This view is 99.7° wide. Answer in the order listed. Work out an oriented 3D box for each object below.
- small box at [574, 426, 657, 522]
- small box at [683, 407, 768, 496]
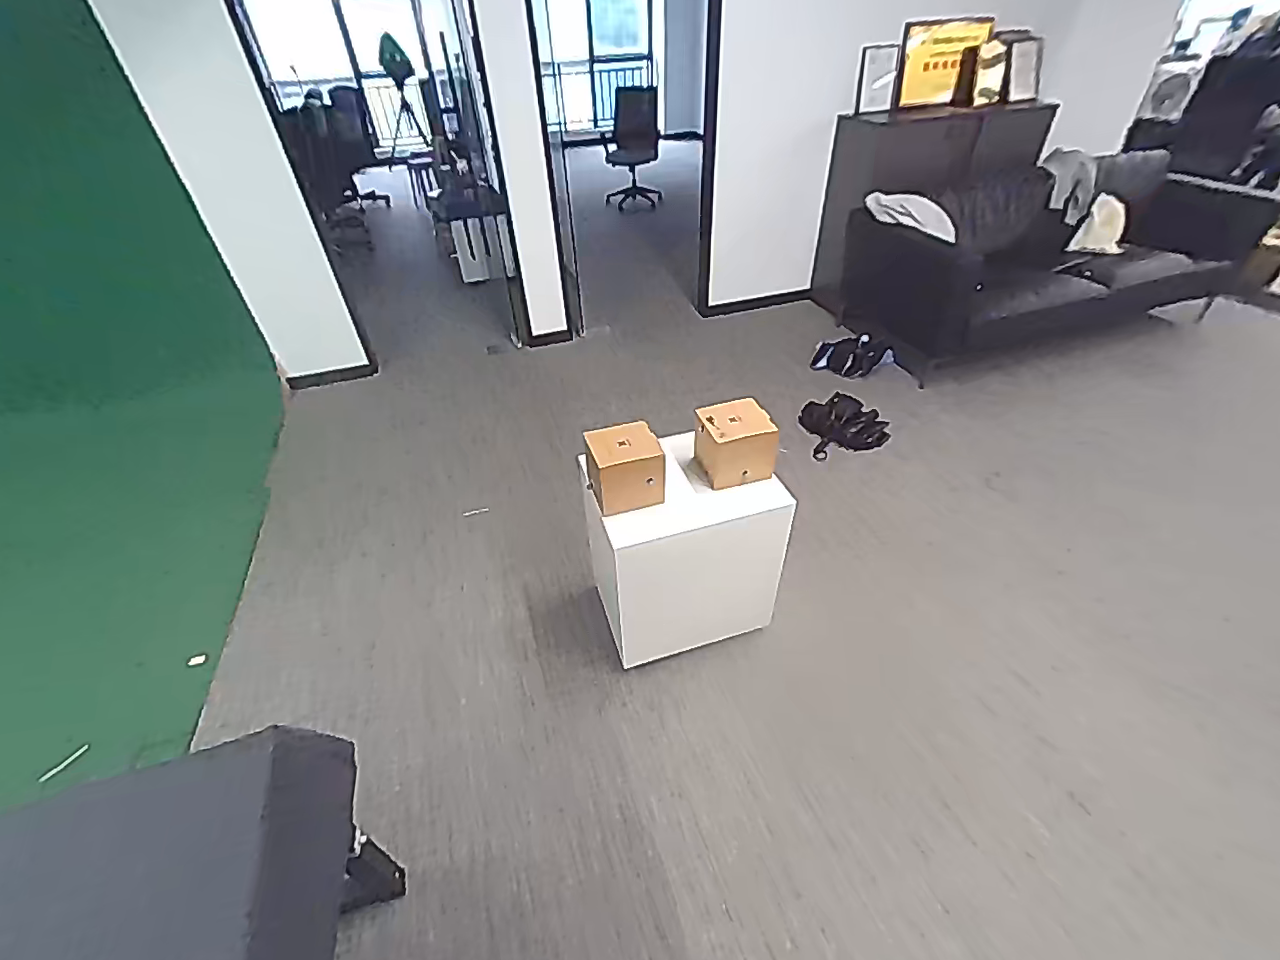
[{"bbox_3d":[-0.067,-0.016,1.419,0.179,0.176,0.168,-13,40,-16],"label":"small box"},{"bbox_3d":[0.229,-0.080,1.499,0.179,0.176,0.168,-11,41,-14],"label":"small box"}]
